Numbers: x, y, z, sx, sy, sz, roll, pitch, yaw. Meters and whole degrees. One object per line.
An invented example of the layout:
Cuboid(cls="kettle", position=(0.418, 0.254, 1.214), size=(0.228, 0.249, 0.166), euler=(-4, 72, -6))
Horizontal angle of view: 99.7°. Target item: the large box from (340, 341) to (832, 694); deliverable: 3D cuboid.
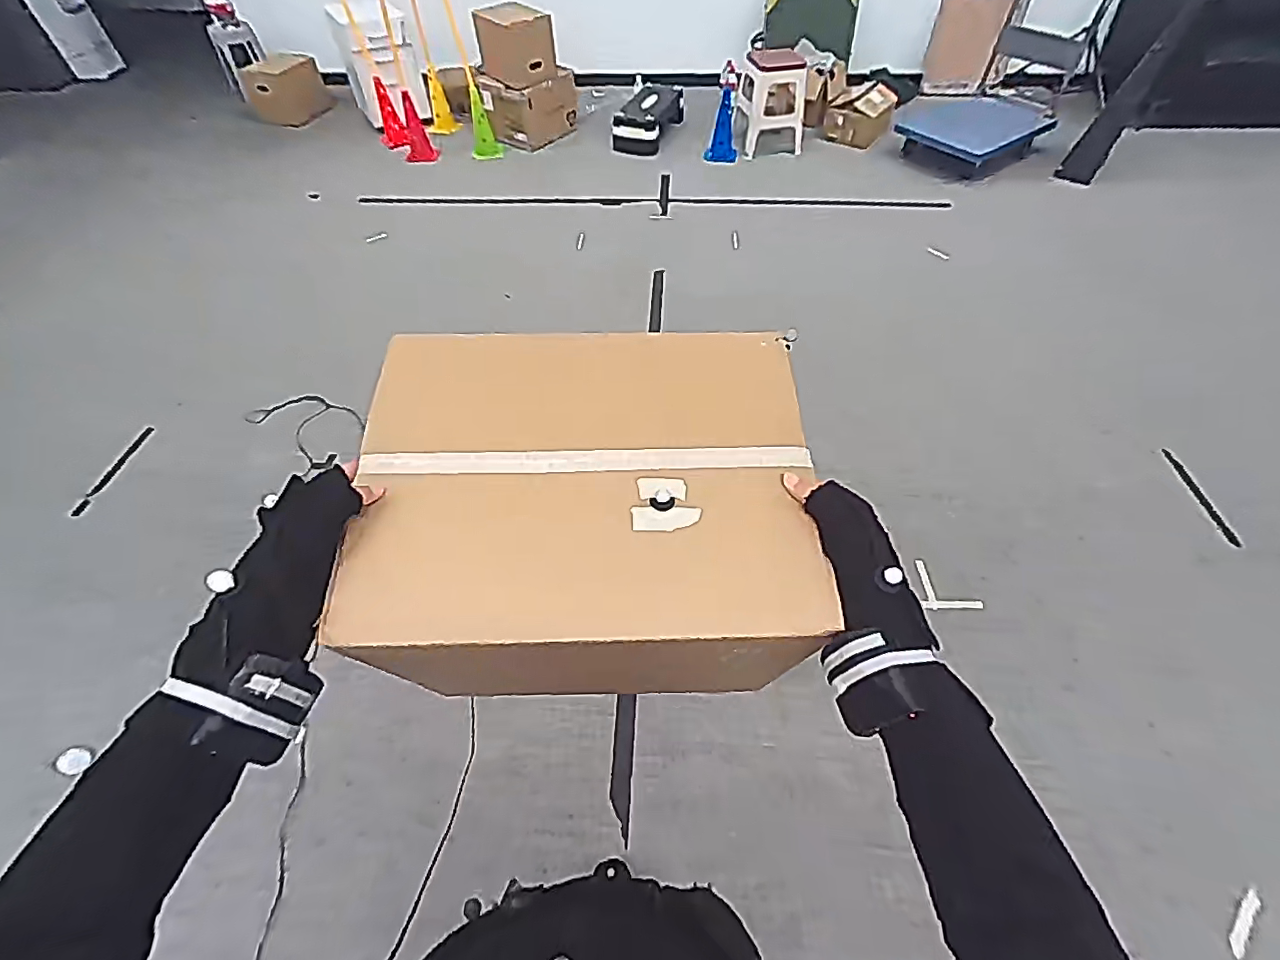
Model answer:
Cuboid(cls="large box", position=(-0.049, 0.060, 0.632), size=(0.408, 0.320, 0.320), euler=(-1, 62, -1))
